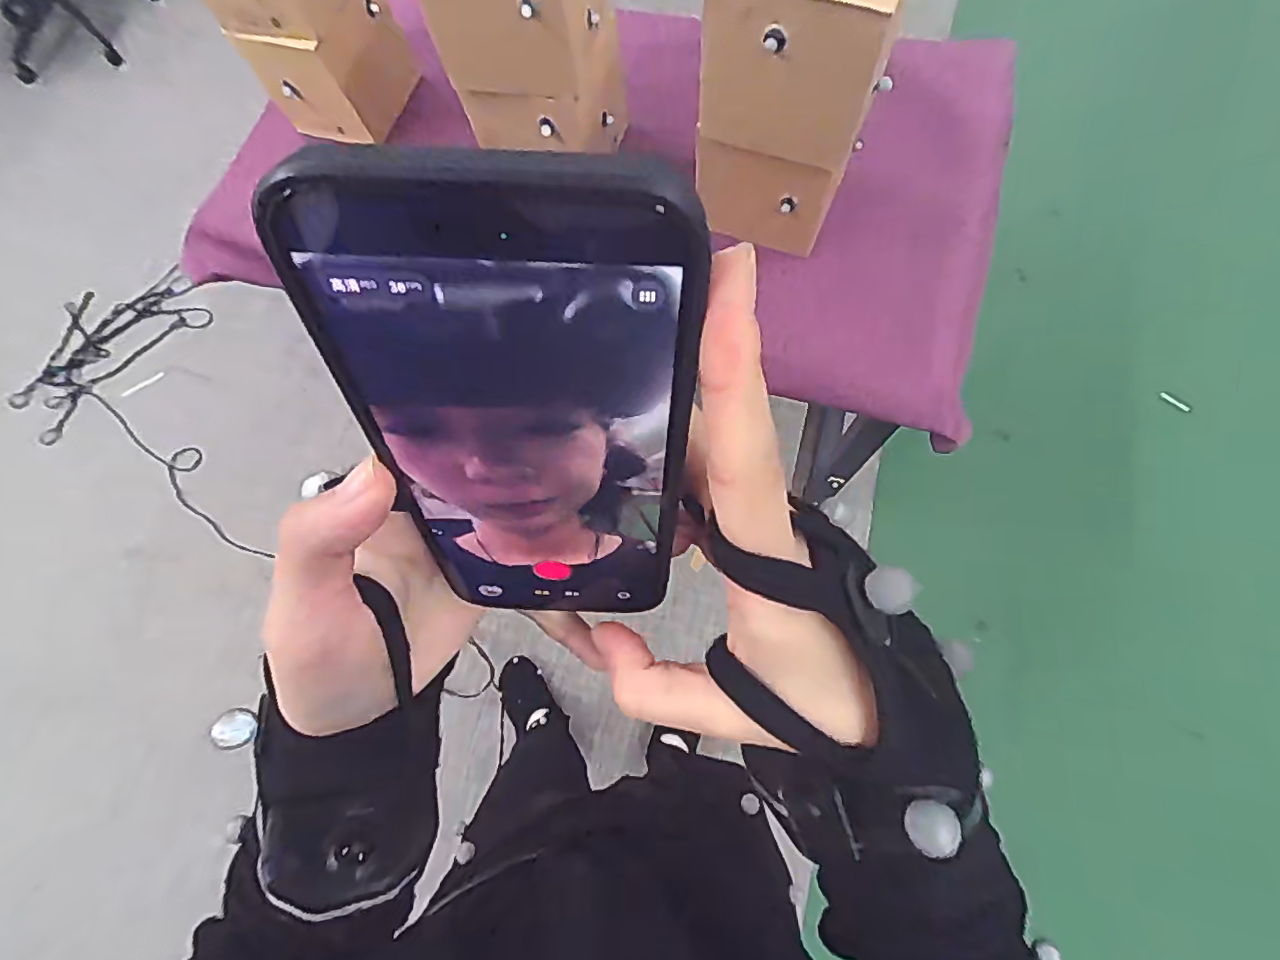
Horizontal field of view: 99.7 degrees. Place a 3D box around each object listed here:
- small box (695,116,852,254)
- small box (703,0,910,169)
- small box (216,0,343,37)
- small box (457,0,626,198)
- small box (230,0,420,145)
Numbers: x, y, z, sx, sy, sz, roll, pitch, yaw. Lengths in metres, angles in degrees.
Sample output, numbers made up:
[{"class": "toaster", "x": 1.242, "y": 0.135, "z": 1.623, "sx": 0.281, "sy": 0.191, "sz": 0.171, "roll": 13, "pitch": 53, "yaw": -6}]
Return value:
[{"class": "small box", "x": 0.186, "y": -0.441, "z": 0.736, "sx": 0.179, "sy": 0.176, "sz": 0.168, "roll": 23, "pitch": 76, "yaw": 12}, {"class": "small box", "x": 0.174, "y": -0.471, "z": 0.575, "sx": 0.179, "sy": 0.176, "sz": 0.168, "roll": 23, "pitch": 76, "yaw": 11}, {"class": "small box", "x": -0.503, "y": -0.738, "z": 0.718, "sx": 0.168, "sy": 0.176, "sz": 0.179, "roll": 13, "pitch": 76, "yaw": 8}, {"class": "small box", "x": -0.130, "y": -0.552, "z": 0.798, "sx": 0.179, "sy": 0.176, "sz": 0.168, "roll": 17, "pitch": 75, "yaw": 10}, {"class": "small box", "x": -0.491, "y": -0.684, "z": 0.873, "sx": 0.168, "sy": 0.176, "sz": 0.179, "roll": 18, "pitch": 76, "yaw": 10}]
